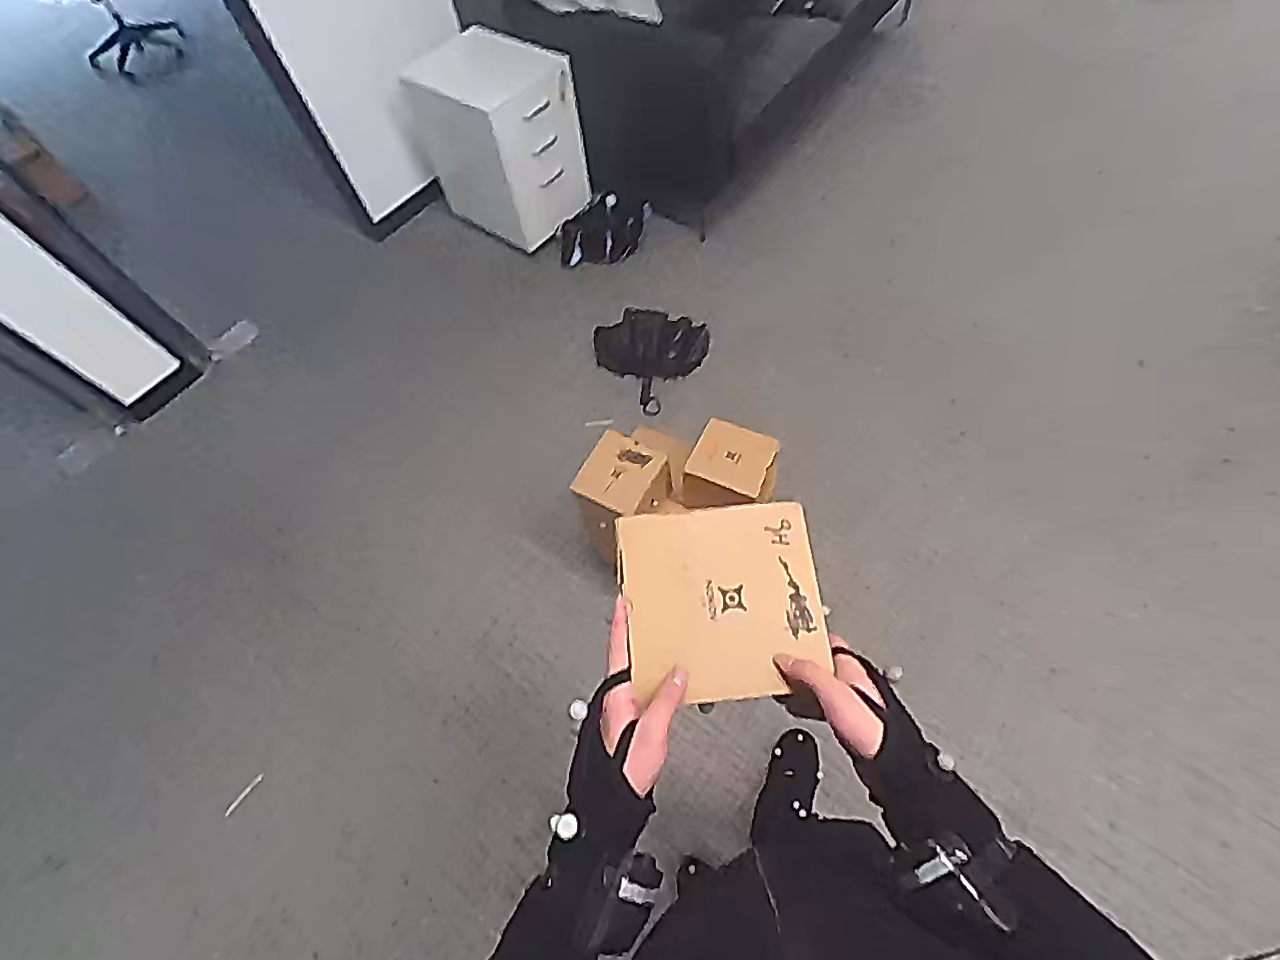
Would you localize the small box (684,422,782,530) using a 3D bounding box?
[{"bbox_3d":[0.217,-0.004,1.281,0.179,0.176,0.168,20,61,18],"label":"small box"}]

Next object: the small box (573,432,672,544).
[{"bbox_3d":[-0.033,0.023,1.292,0.168,0.176,0.179,25,69,19],"label":"small box"}]
